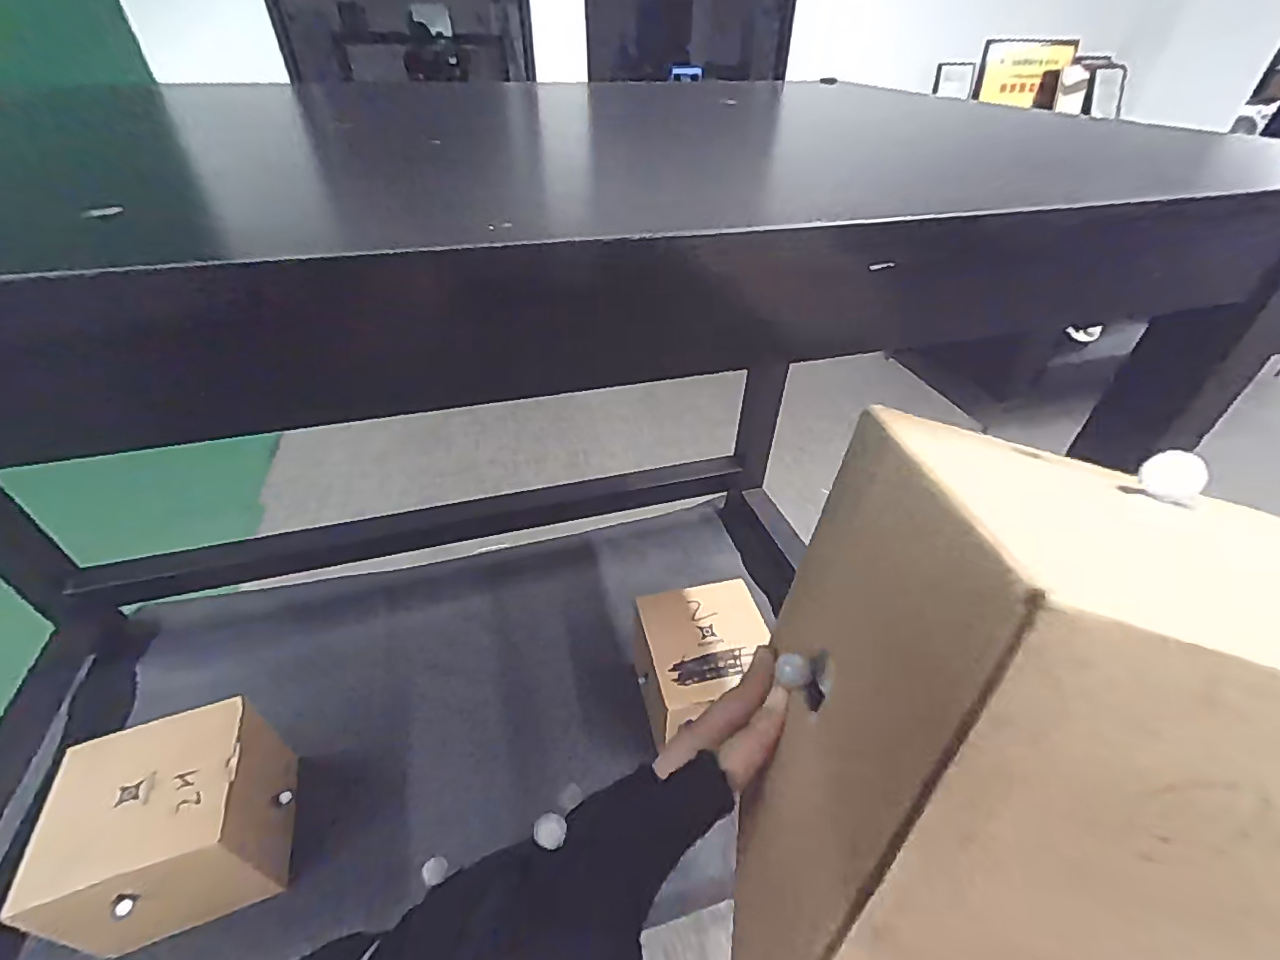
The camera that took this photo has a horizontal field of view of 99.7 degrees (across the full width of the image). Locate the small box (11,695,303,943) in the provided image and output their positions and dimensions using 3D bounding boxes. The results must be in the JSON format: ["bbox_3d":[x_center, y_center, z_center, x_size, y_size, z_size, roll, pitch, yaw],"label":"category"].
[{"bbox_3d":[-0.523,0.388,0.624,0.179,0.176,0.168,-13,42,-17],"label":"small box"}]
